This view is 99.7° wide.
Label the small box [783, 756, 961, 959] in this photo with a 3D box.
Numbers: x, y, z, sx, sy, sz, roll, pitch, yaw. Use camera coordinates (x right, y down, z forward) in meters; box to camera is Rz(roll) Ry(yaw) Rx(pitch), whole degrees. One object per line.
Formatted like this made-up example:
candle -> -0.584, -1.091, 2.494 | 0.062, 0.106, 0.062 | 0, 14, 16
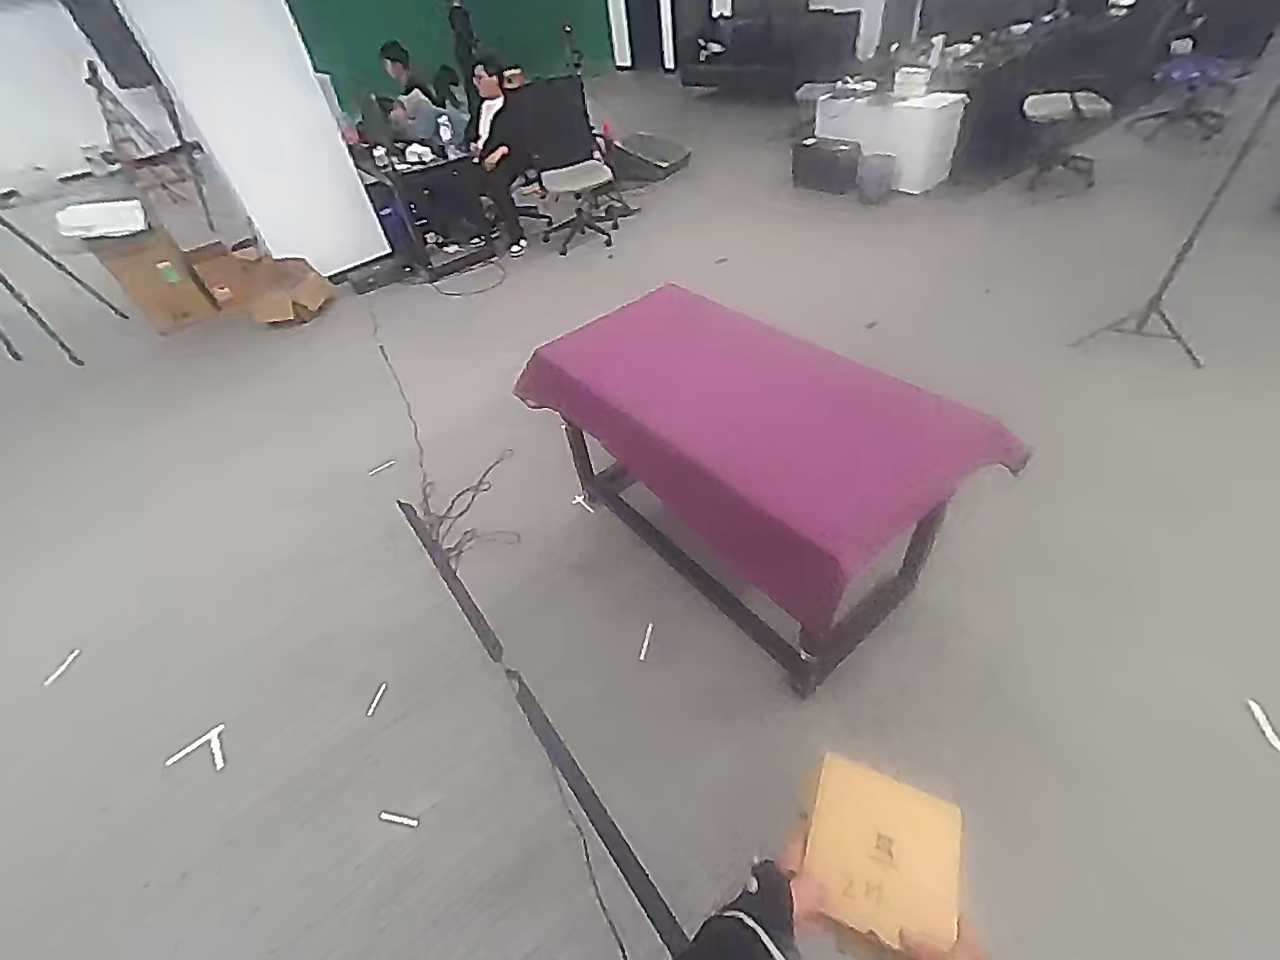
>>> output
small box -> 0.291, 0.497, 0.700 | 0.168, 0.176, 0.179 | 16, 54, 19
